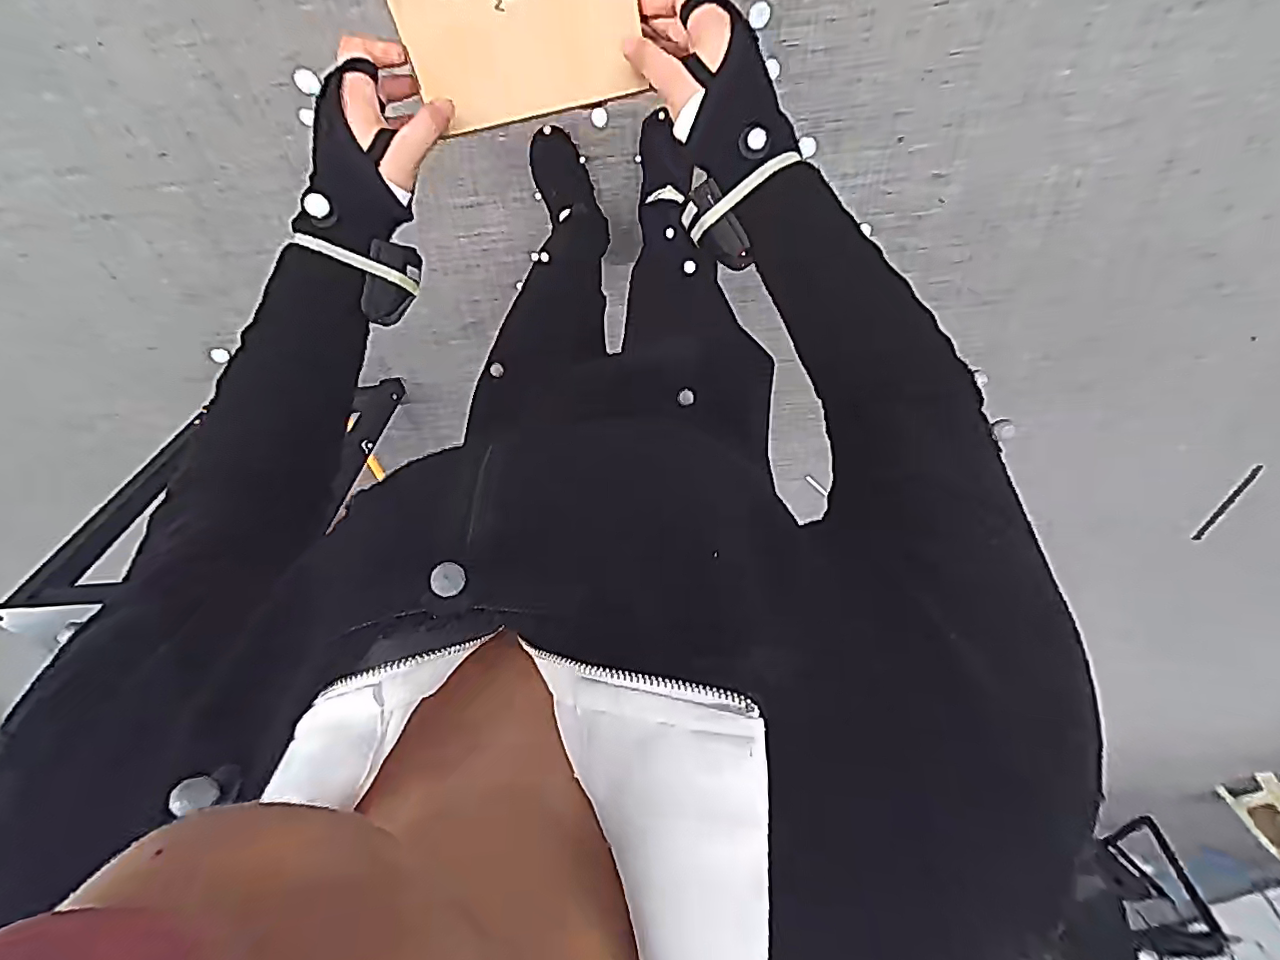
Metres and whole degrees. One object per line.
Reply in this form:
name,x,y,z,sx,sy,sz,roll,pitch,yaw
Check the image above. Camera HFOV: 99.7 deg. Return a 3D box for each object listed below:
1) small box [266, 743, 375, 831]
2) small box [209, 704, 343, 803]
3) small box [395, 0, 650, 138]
small box,-0.836,0.816,1.443,0.179,0.176,0.168,-4,133,4
small box,-0.855,0.651,1.291,0.179,0.176,0.168,-3,134,3
small box,-0.092,-0.402,0.448,0.179,0.176,0.168,-8,126,6
